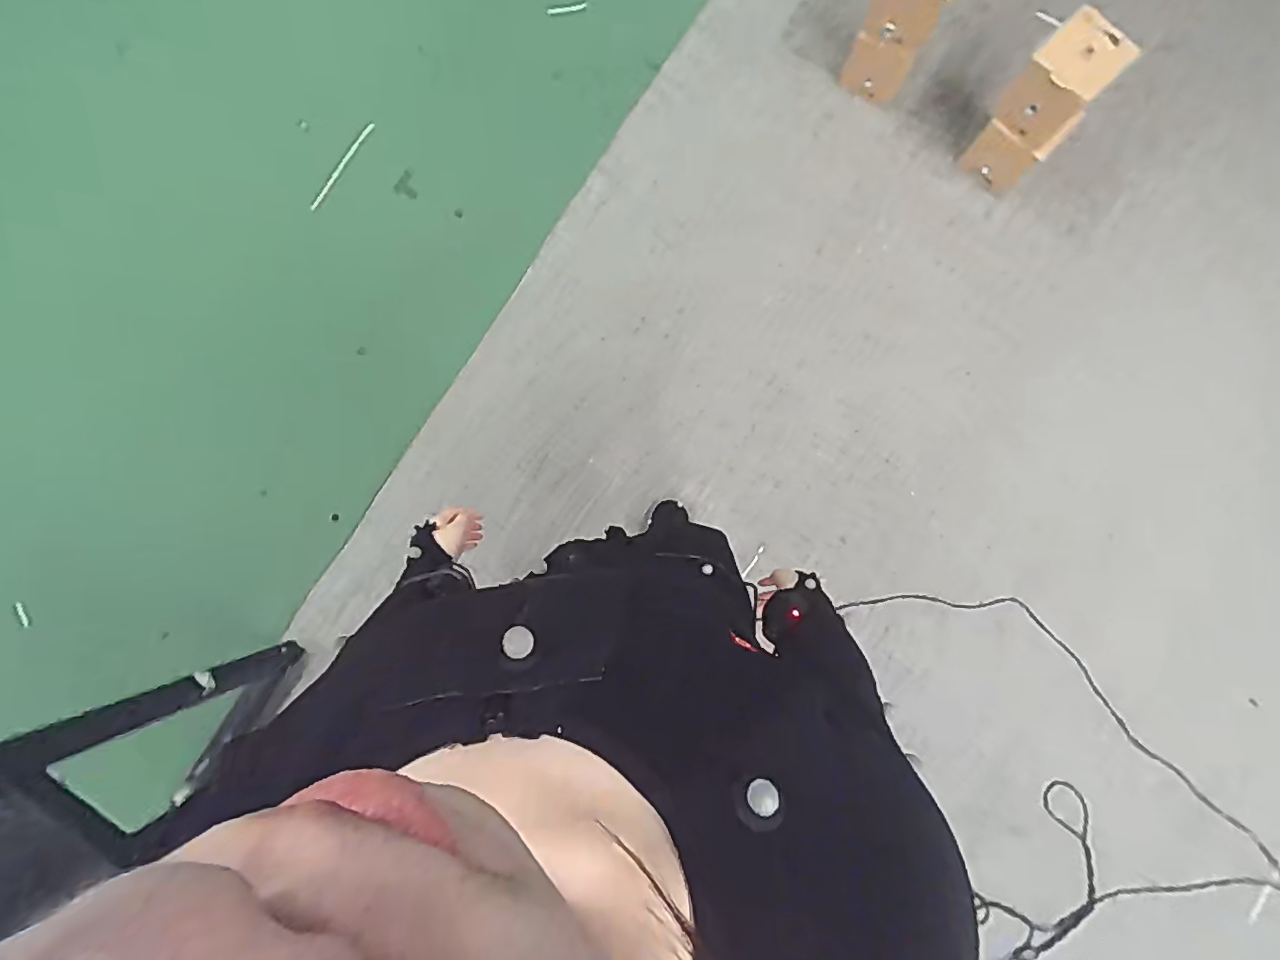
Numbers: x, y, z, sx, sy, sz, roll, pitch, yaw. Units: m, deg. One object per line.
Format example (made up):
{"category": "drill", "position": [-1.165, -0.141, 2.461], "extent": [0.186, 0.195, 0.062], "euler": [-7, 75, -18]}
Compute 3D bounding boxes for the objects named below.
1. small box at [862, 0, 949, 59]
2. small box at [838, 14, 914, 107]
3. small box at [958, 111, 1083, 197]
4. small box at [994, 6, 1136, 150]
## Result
{"category": "small box", "position": [0.669, -1.188, 1.308], "extent": [0.168, 0.176, 0.179], "euler": [29, 88, 5]}
{"category": "small box", "position": [0.668, -1.176, 1.469], "extent": [0.168, 0.176, 0.179], "euler": [29, 88, 4]}
{"category": "small box", "position": [0.998, -0.905, 1.438], "extent": [0.168, 0.176, 0.179], "euler": [43, 89, 5]}
{"category": "small box", "position": [0.983, -0.936, 1.277], "extent": [0.179, 0.176, 0.168], "euler": [-43, 86, 0]}
